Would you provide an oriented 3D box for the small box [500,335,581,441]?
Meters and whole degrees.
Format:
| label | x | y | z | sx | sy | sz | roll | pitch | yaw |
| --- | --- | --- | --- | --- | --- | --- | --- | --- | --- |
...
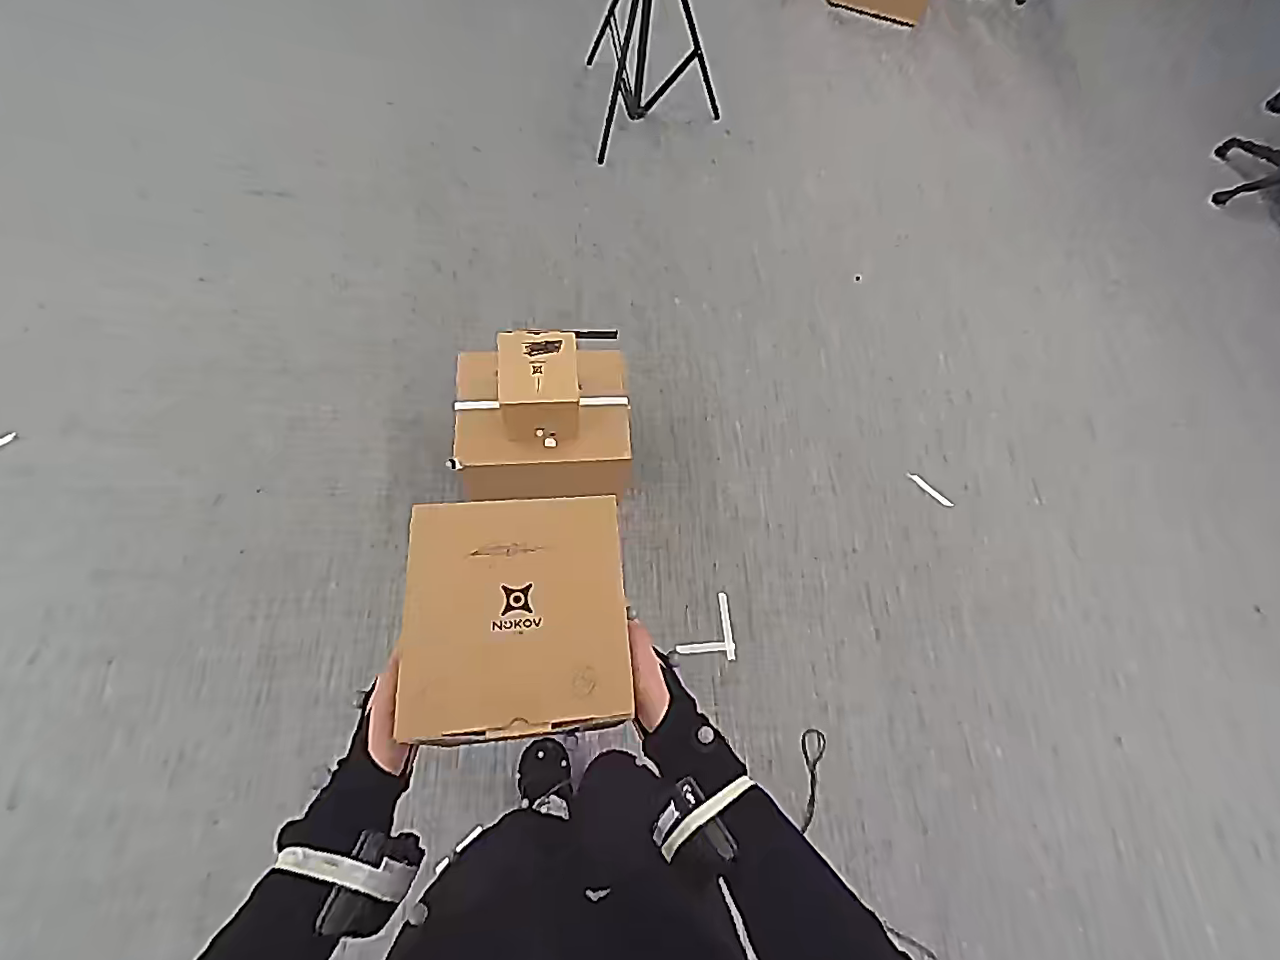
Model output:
| label | x | y | z | sx | sy | sz | roll | pitch | yaw |
| --- | --- | --- | --- | --- | --- | --- | --- | --- | --- |
| small box | -0.221 | -0.202 | 1.206 | 0.168 | 0.176 | 0.179 | -3 | 69 | -8 |

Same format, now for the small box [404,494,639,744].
| label | x | y | z | sx | sy | sz | roll | pitch | yaw |
| --- | --- | --- | --- | --- | --- | --- | --- | --- | --- |
| small box | -0.098 | 0.127 | 0.480 | 0.168 | 0.176 | 0.179 | -3 | 65 | -10 |
